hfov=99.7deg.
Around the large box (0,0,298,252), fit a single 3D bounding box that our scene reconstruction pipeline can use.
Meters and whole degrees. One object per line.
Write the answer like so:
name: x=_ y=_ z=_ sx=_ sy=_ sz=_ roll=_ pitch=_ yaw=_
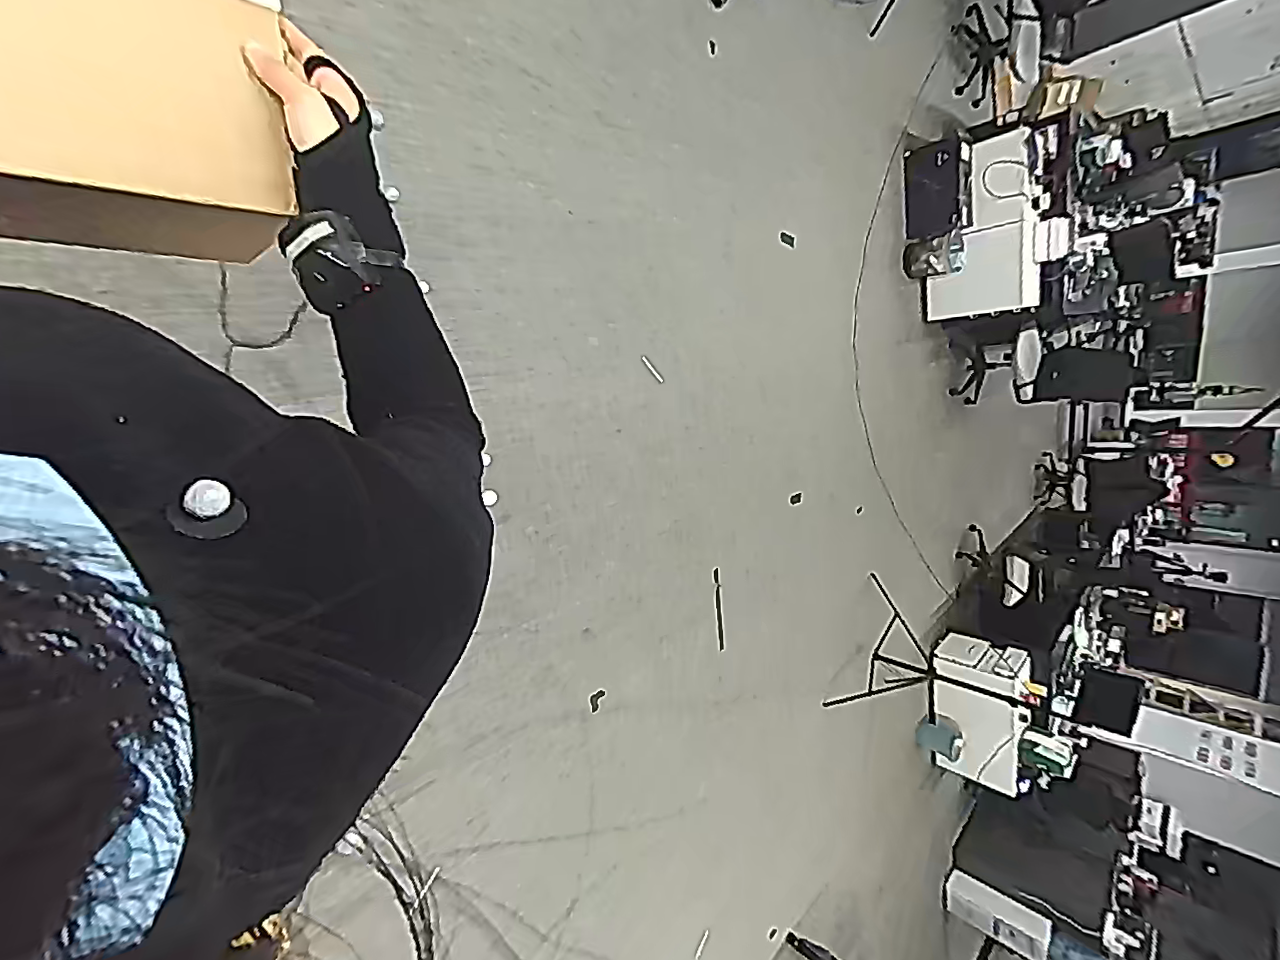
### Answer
large box: x=-0.539 y=-0.372 z=0.410 sx=0.408 sy=0.320 sz=0.320 roll=-11 pitch=106 yaw=-41
